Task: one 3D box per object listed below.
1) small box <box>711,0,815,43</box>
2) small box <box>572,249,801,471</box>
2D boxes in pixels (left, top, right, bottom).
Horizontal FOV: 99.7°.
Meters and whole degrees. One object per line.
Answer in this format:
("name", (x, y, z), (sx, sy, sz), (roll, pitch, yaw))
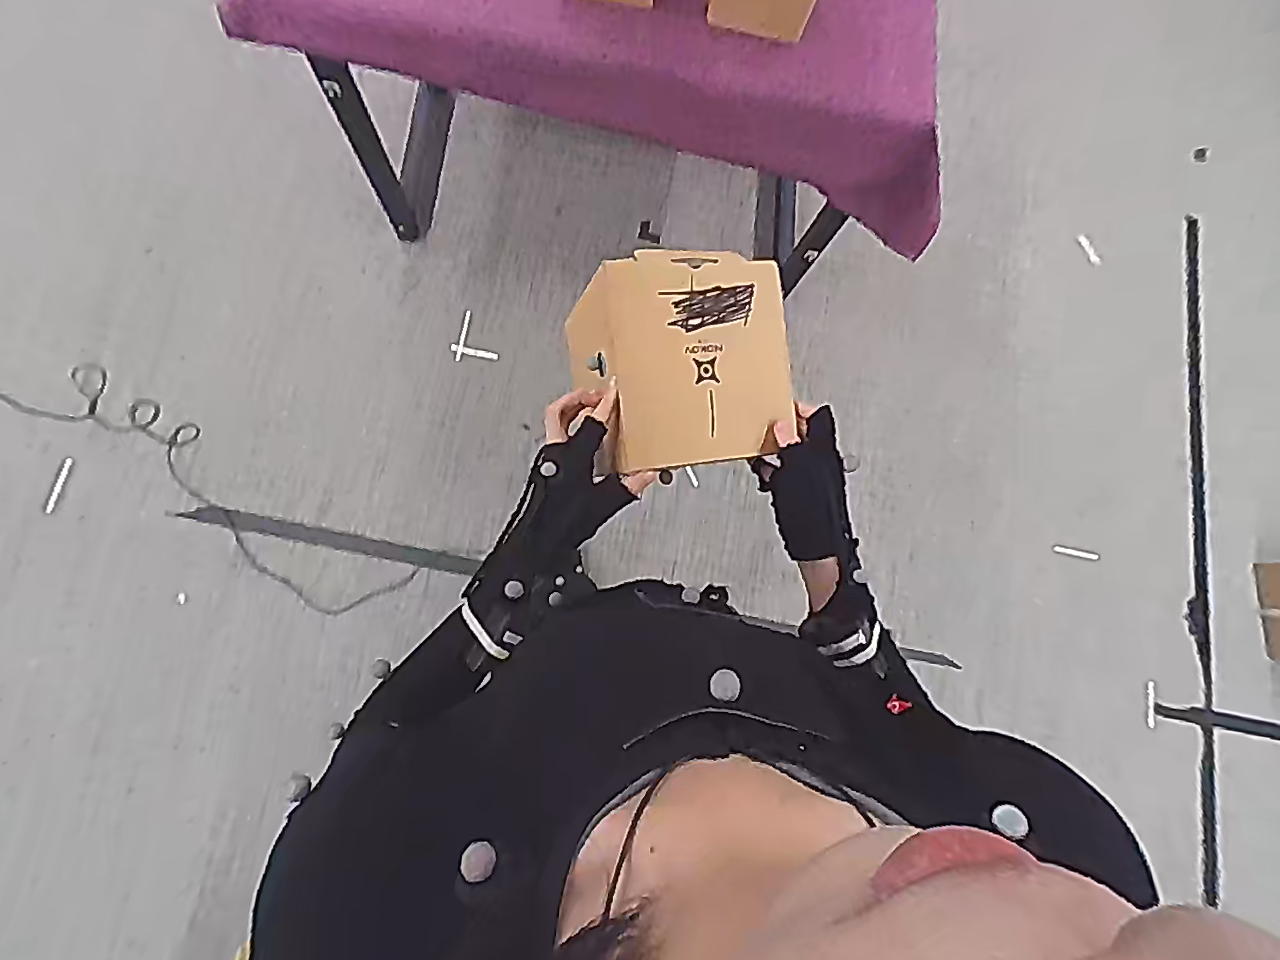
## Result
("small box", (0.228, -0.906, 0.932), (0.179, 0.176, 0.168), (8, 79, -5))
("small box", (0.034, -0.107, 0.538), (0.168, 0.176, 0.179), (-8, 91, -18))
